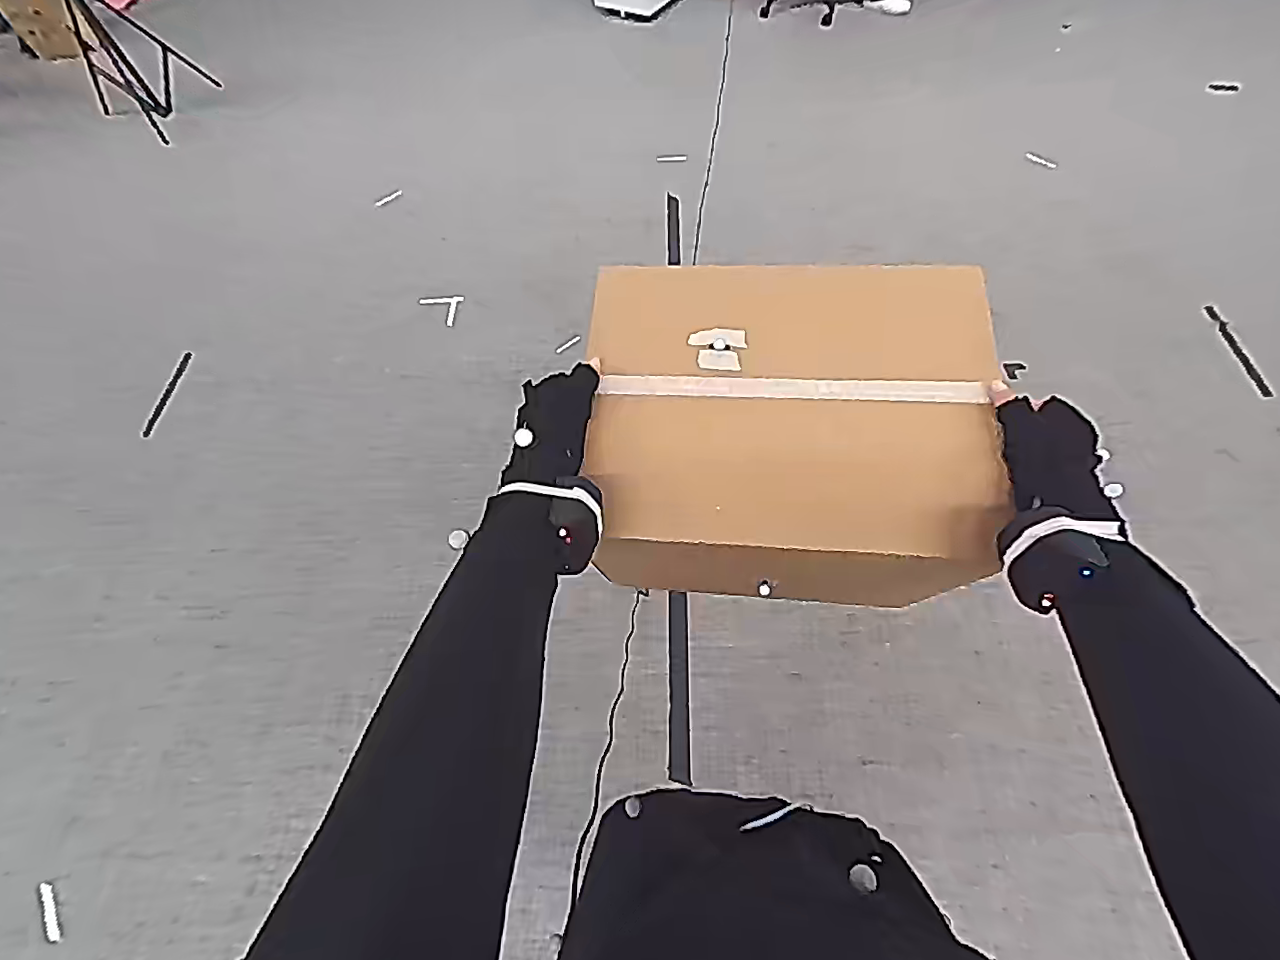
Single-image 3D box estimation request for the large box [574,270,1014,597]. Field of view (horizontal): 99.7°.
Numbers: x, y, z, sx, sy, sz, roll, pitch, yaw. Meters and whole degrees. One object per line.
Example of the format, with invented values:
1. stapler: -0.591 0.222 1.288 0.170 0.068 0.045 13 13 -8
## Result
1. large box: 0.163 -0.034 0.685 0.408 0.320 0.320 3 70 9
